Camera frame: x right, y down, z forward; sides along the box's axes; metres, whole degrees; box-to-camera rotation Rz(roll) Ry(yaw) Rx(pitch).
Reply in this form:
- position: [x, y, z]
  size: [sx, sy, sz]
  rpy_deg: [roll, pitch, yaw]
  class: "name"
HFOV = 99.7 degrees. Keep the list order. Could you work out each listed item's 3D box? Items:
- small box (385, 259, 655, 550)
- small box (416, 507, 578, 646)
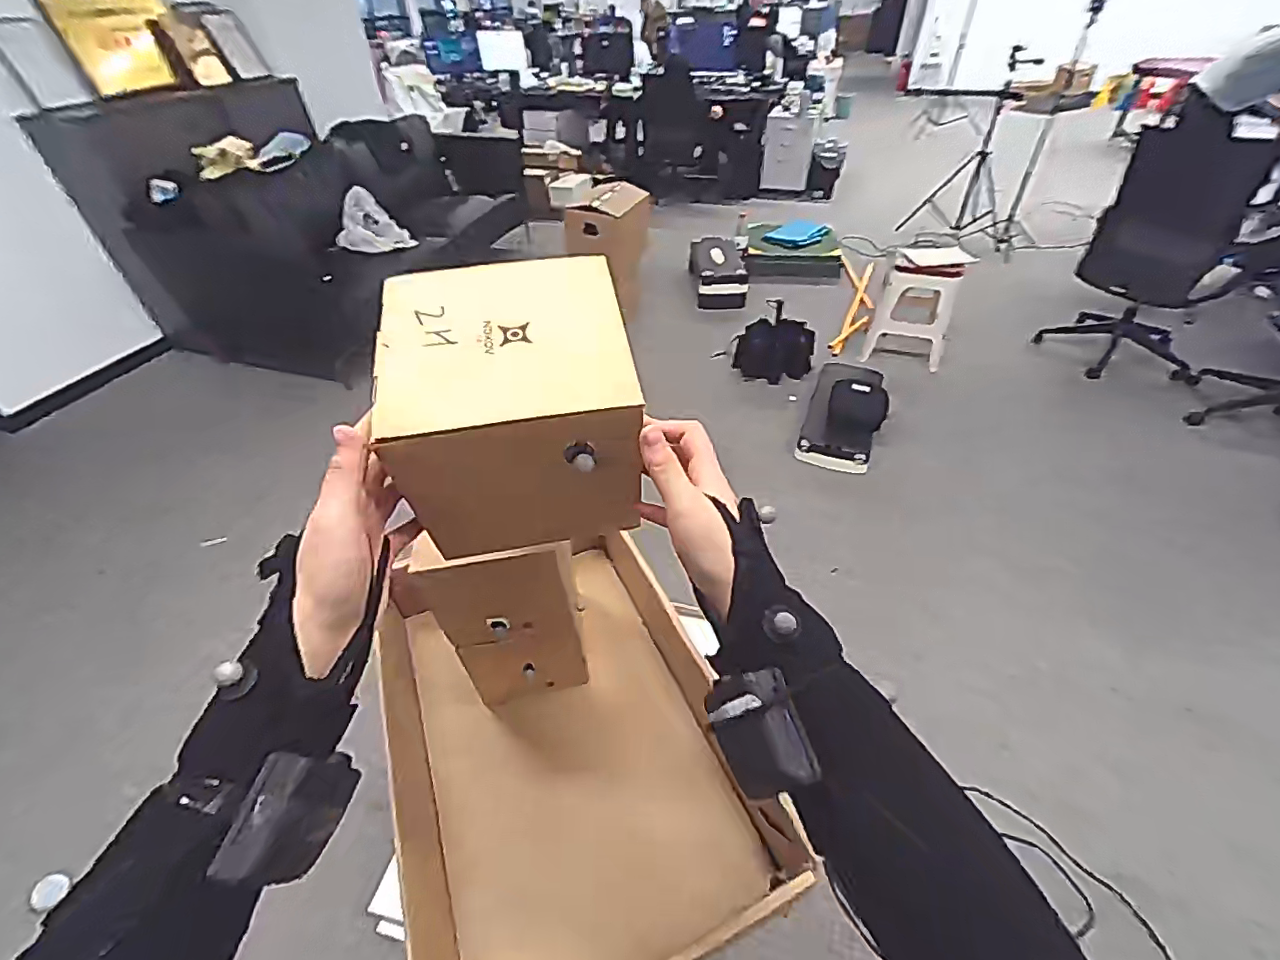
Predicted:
- position: [-0.090, -0.058, 0.457]
  size: [0.179, 0.176, 0.168]
  rpy_deg: [-9, 57, -6]
  class: "small box"
- position: [-0.181, 0.094, 0.730]
  size: [0.168, 0.176, 0.179]
  rpy_deg: [-10, 44, -3]
  class: "small box"
